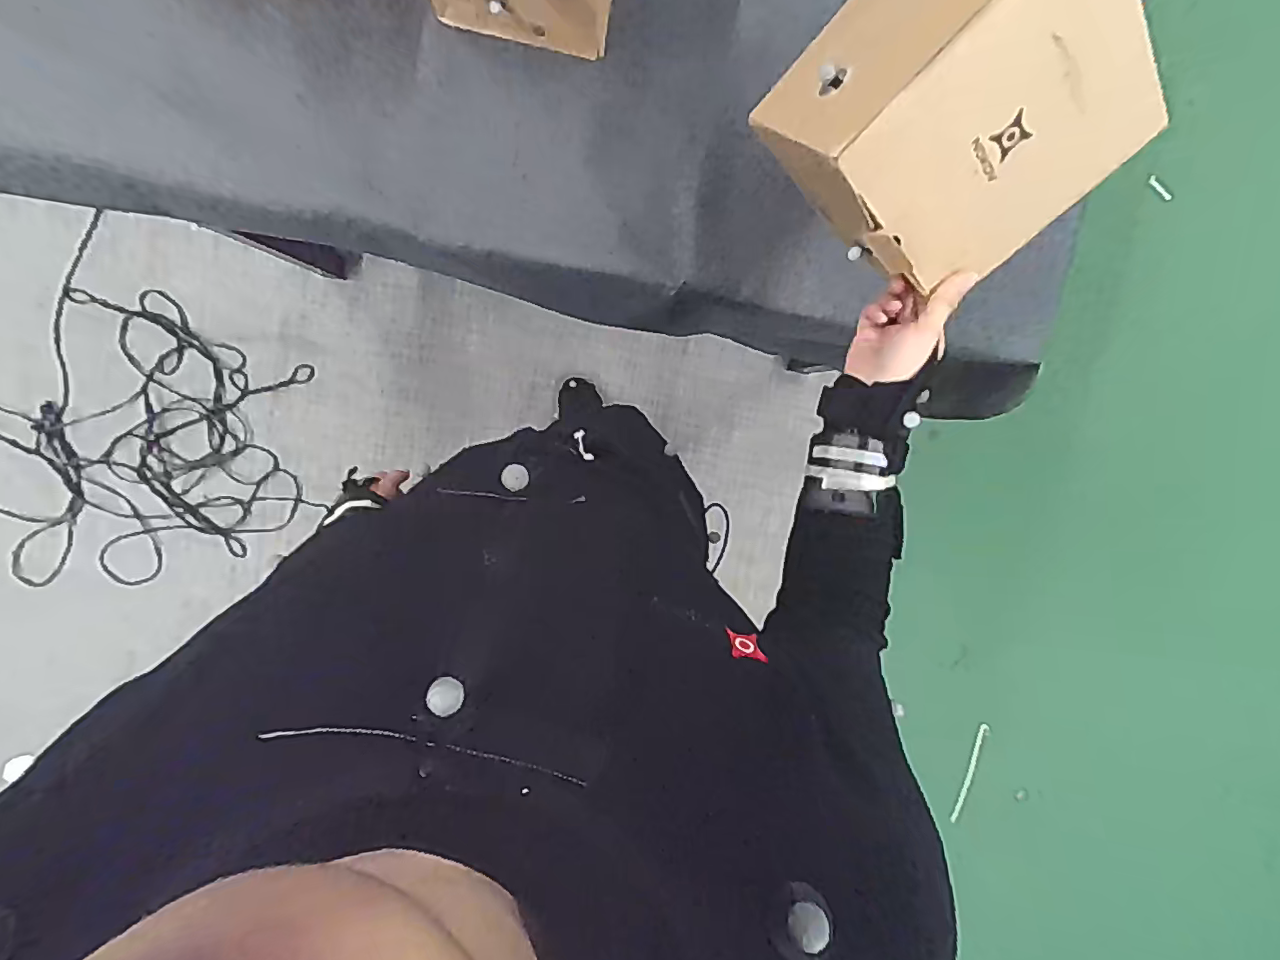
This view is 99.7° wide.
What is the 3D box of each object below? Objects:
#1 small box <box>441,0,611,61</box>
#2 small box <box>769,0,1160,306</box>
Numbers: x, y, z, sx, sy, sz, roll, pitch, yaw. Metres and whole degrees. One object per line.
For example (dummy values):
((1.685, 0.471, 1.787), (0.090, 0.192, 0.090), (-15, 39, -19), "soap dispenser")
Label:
((-0.098, -0.514, 0.457), (0.168, 0.176, 0.179), (10, 98, -6), "small box")
((0.222, -0.276, 0.414), (0.168, 0.176, 0.179), (30, 117, -34), "small box")
